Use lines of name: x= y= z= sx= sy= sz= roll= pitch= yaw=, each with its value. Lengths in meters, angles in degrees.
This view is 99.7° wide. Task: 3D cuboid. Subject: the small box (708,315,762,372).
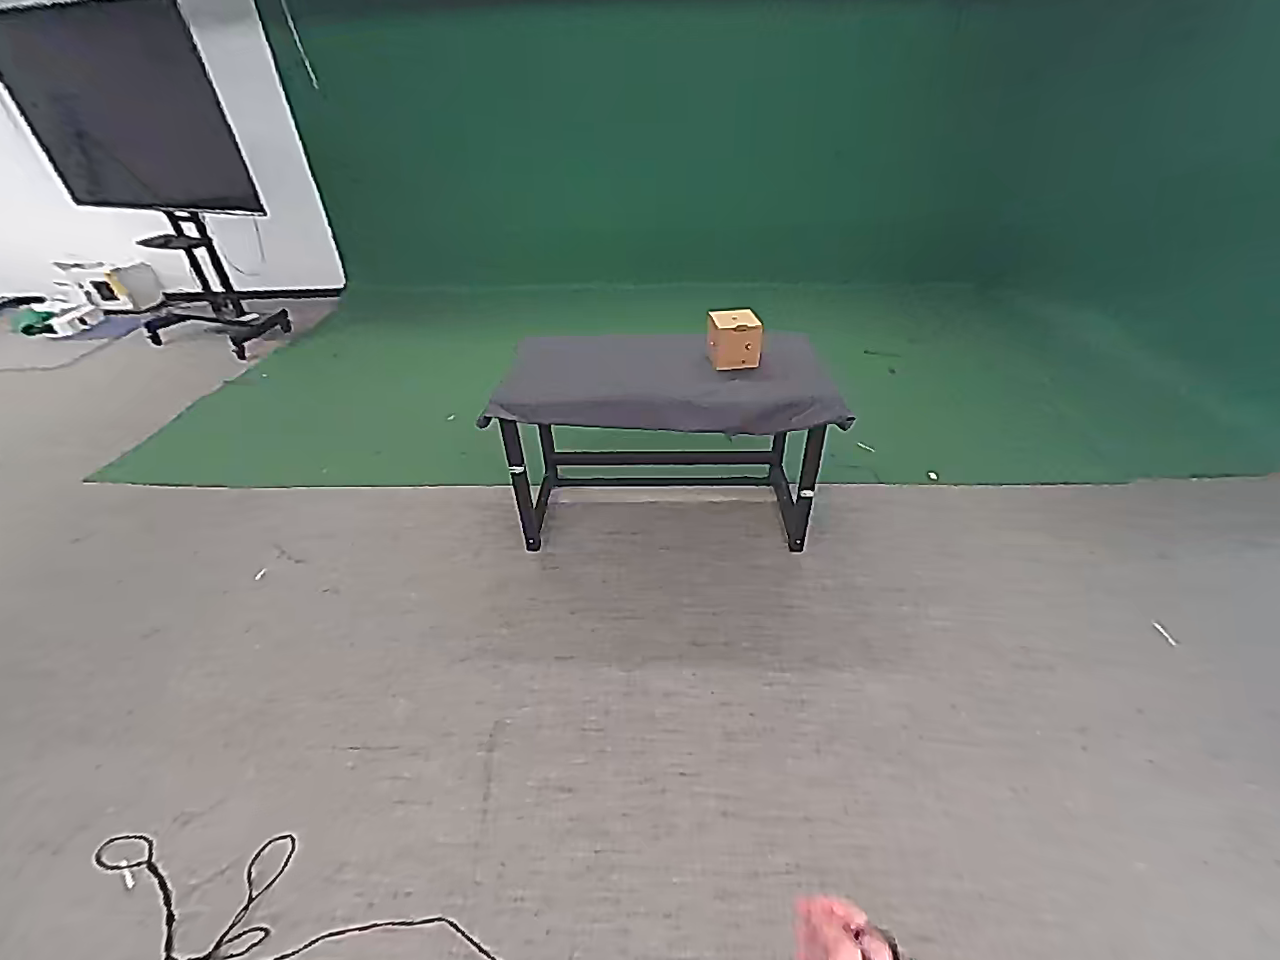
small box: x=0.360 y=-0.520 z=2.077 sx=0.168 sy=0.176 sz=0.179 roll=-4 pitch=35 yaw=-6
